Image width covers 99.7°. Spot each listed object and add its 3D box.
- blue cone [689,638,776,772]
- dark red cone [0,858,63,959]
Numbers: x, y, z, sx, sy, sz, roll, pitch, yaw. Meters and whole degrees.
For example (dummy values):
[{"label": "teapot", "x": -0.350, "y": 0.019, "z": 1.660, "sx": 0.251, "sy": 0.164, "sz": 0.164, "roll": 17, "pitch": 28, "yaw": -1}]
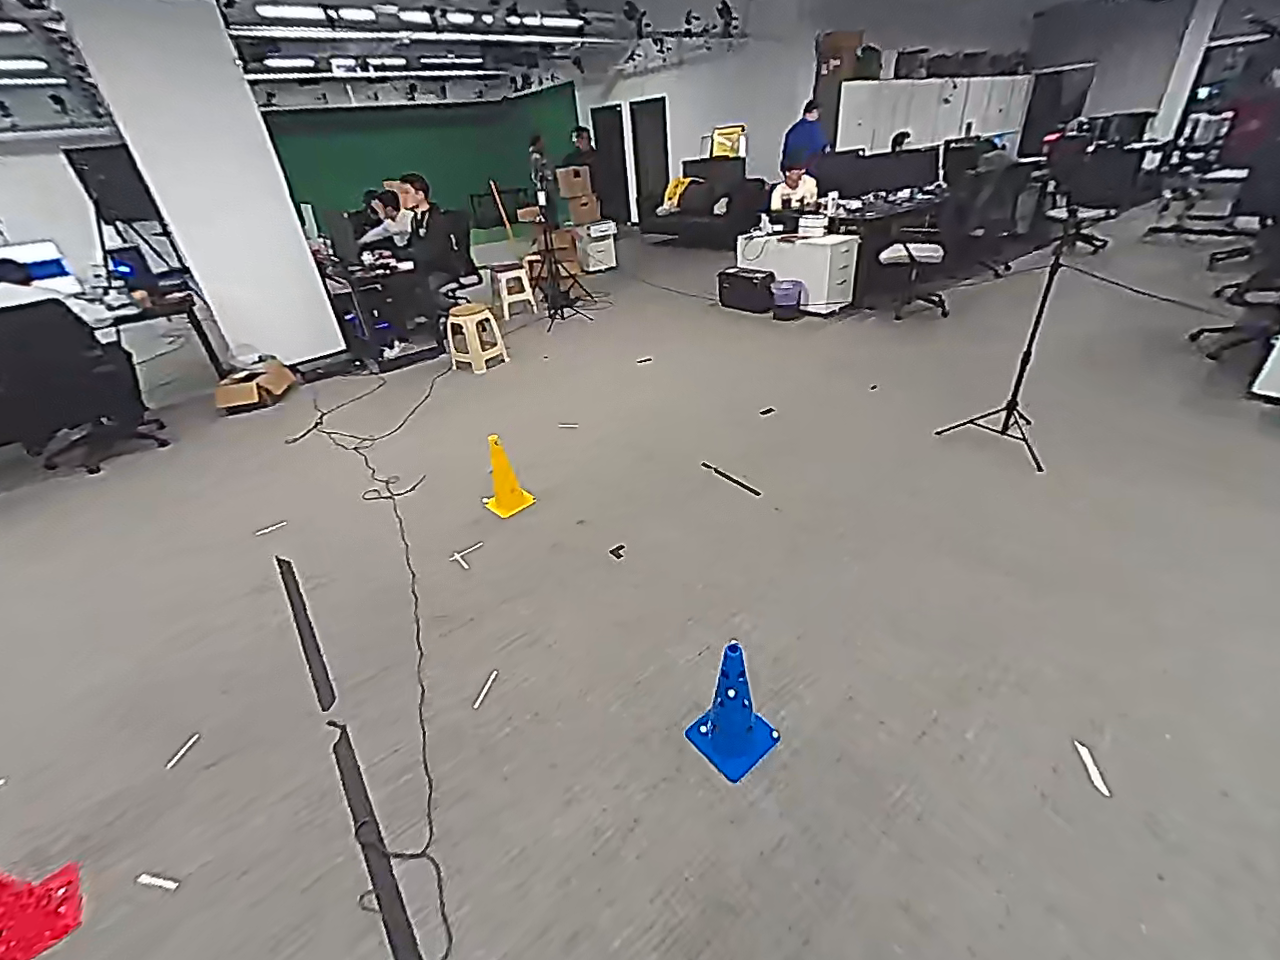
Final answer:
[{"label": "blue cone", "x": 0.244, "y": 0.565, "z": 1.425, "sx": 0.192, "sy": 0.380, "sz": 0.193, "roll": -25, "pitch": 36, "yaw": -30}, {"label": "dark red cone", "x": -1.468, "y": 0.874, "z": 1.156, "sx": 0.202, "sy": 0.394, "sz": 0.201, "roll": 23, "pitch": 41, "yaw": 39}]
